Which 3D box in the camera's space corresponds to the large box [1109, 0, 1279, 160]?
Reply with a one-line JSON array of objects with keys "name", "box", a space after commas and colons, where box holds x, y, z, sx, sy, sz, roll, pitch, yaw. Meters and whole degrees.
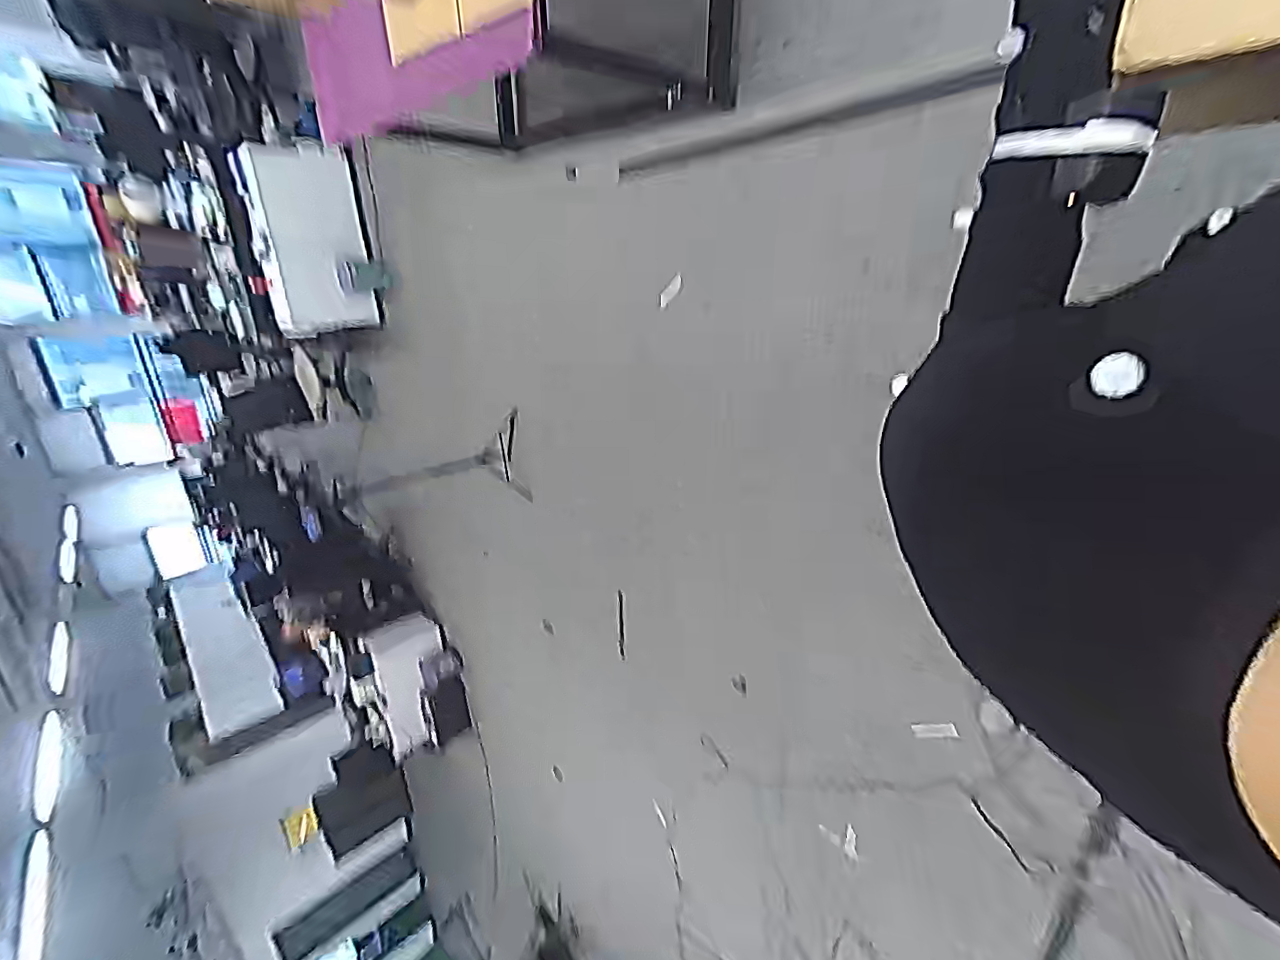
[{"name": "large box", "box": [0.552, -0.393, 0.285, 0.408, 0.320, 0.320, 17, 118, 40]}]
